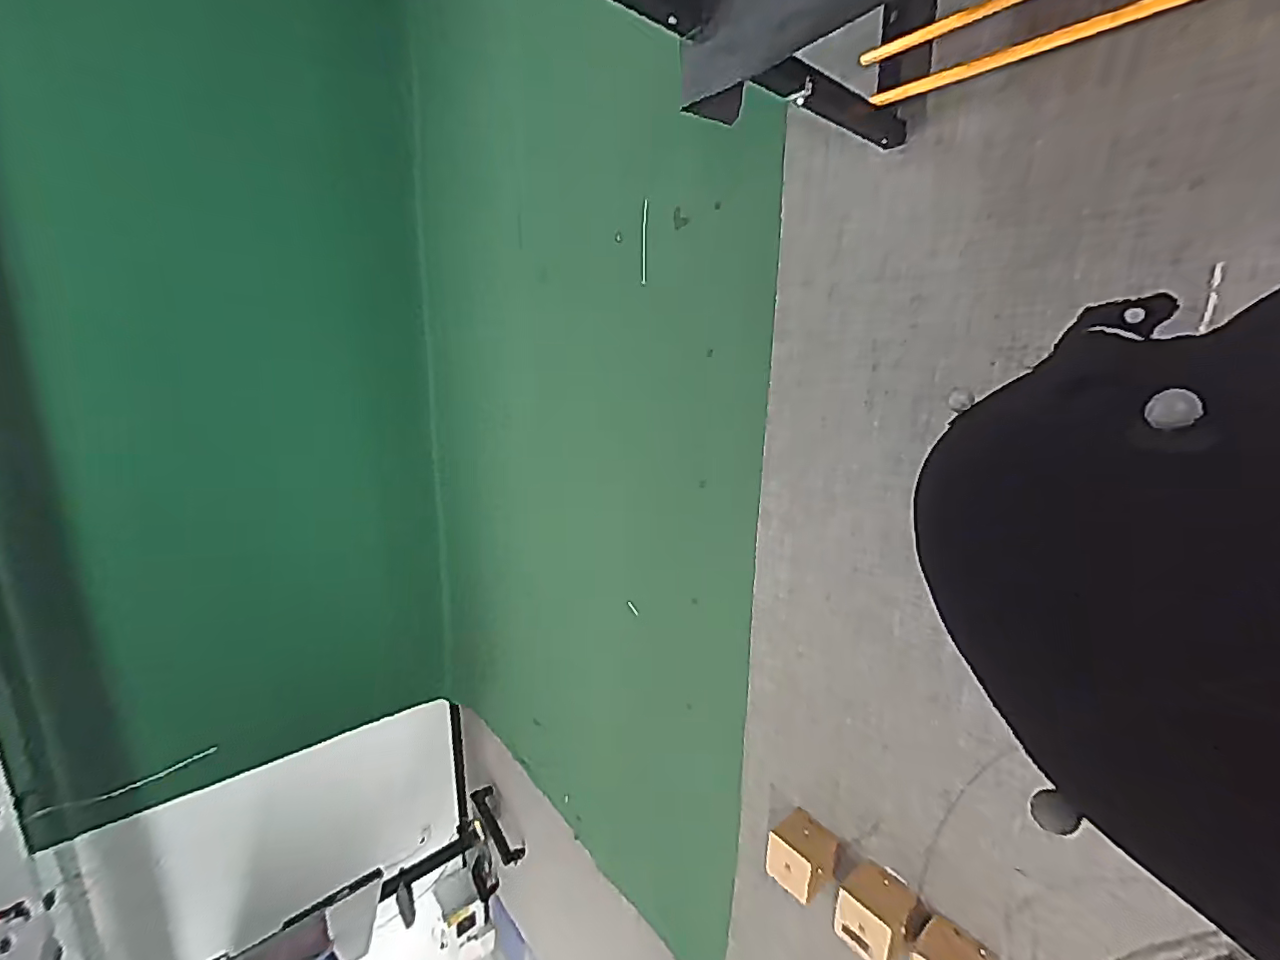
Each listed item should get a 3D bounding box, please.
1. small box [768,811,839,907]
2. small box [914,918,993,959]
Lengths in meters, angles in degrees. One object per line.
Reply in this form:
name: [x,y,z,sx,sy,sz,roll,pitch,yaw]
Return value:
small box: [0.563,1.289,1.855,0.168,0.176,0.179,18,111,49]
small box: [0.866,1.382,1.494,0.168,0.176,0.179,16,110,48]
